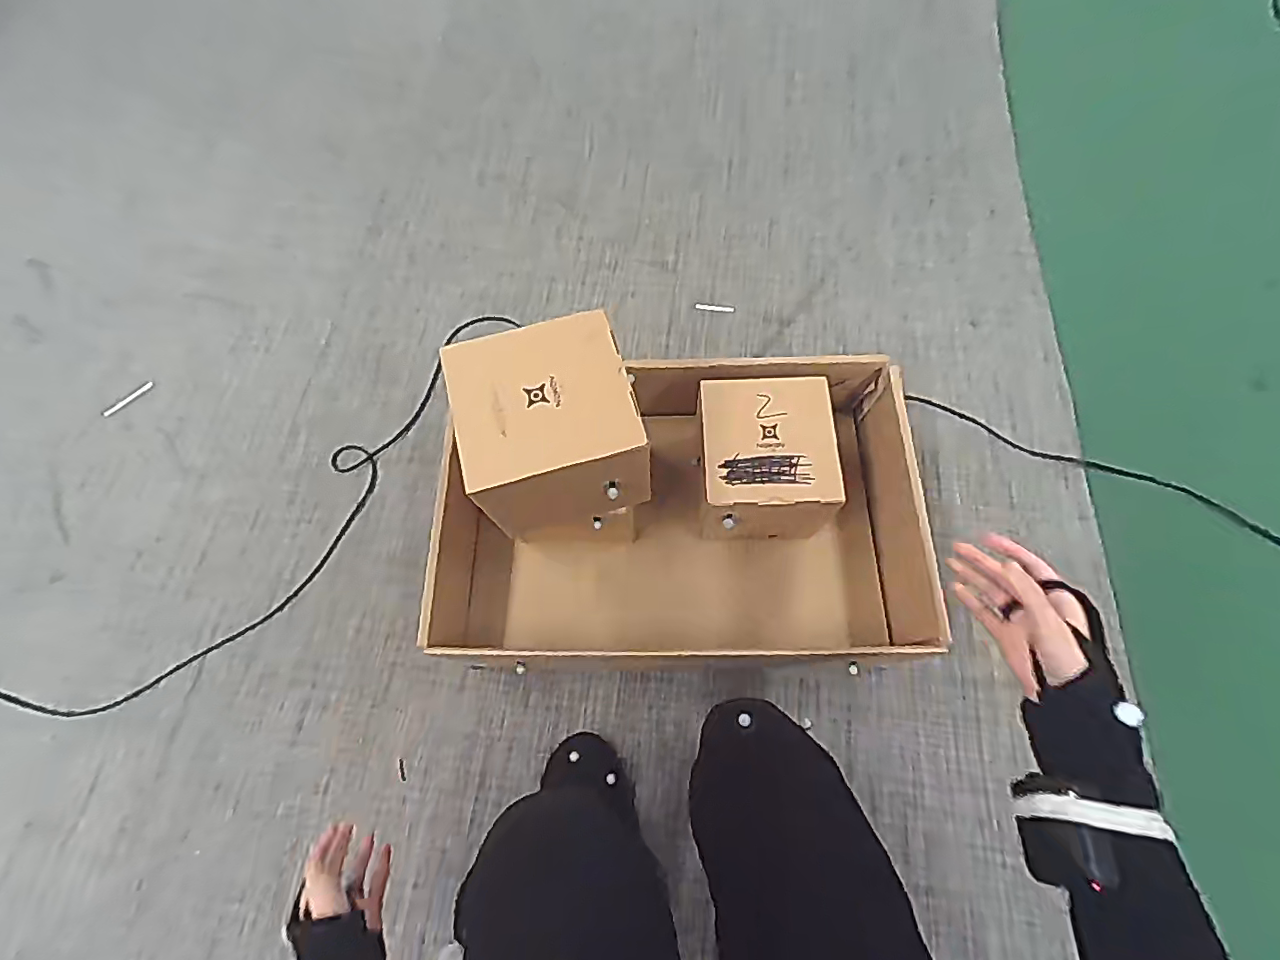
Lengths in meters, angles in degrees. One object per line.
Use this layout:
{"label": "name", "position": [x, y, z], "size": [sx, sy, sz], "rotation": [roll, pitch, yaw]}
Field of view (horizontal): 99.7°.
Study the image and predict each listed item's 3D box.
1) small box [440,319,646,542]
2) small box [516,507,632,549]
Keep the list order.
{"label": "small box", "position": [-0.097, -0.045, 0.601], "size": [0.179, 0.176, 0.168], "rotation": [-15, 69, -4]}
{"label": "small box", "position": [-0.101, -0.001, 0.759], "size": [0.179, 0.176, 0.168], "rotation": [1, 69, 1]}
